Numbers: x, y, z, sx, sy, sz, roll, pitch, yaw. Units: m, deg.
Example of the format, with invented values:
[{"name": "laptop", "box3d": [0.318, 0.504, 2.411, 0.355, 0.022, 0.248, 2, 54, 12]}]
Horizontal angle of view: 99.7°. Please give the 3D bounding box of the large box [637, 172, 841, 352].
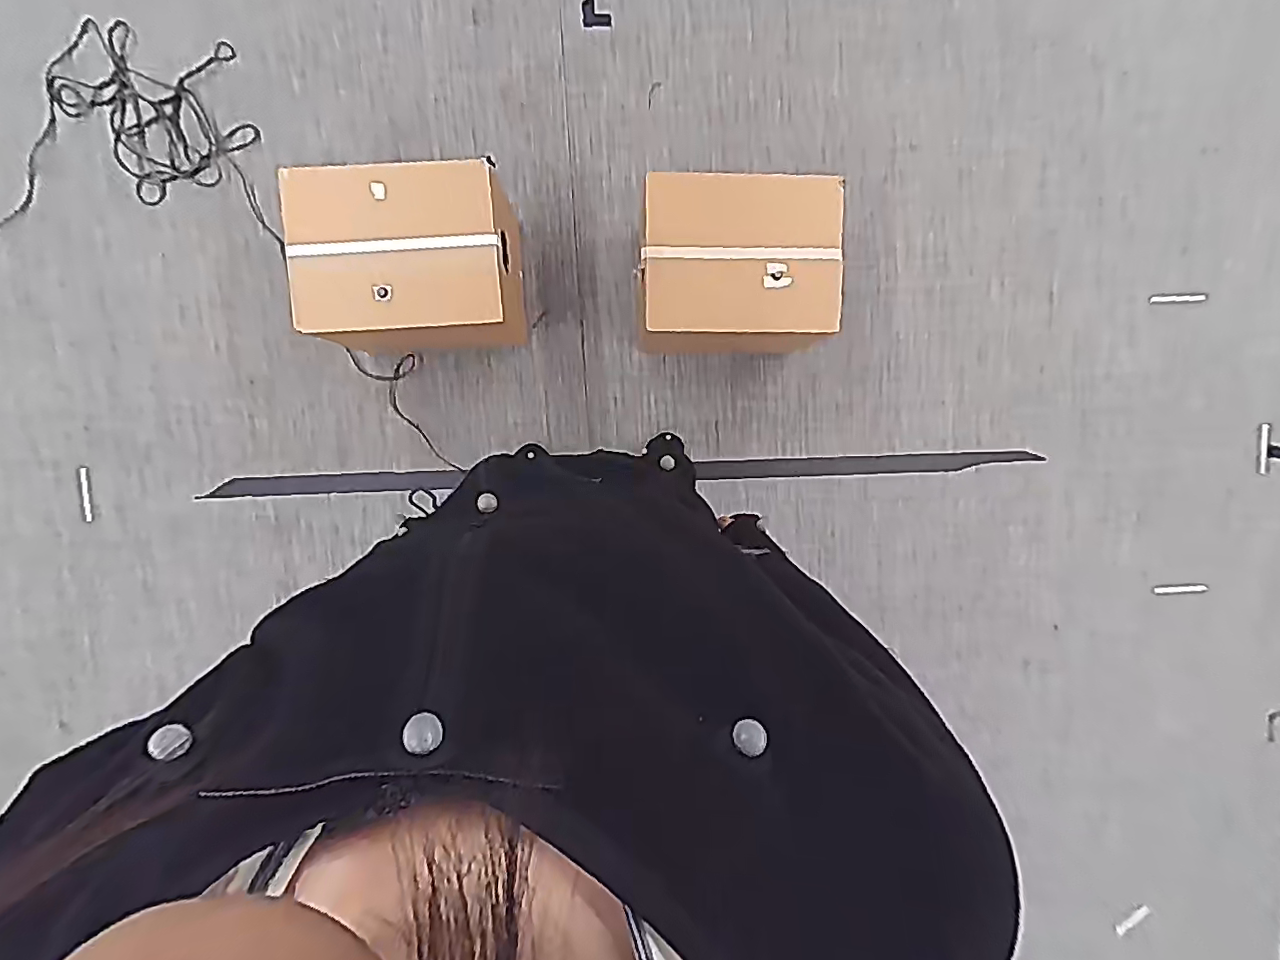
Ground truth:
[{"name": "large box", "box3d": [0.203, -0.477, 1.250, 0.408, 0.320, 0.320, 0, 96, -4]}]
